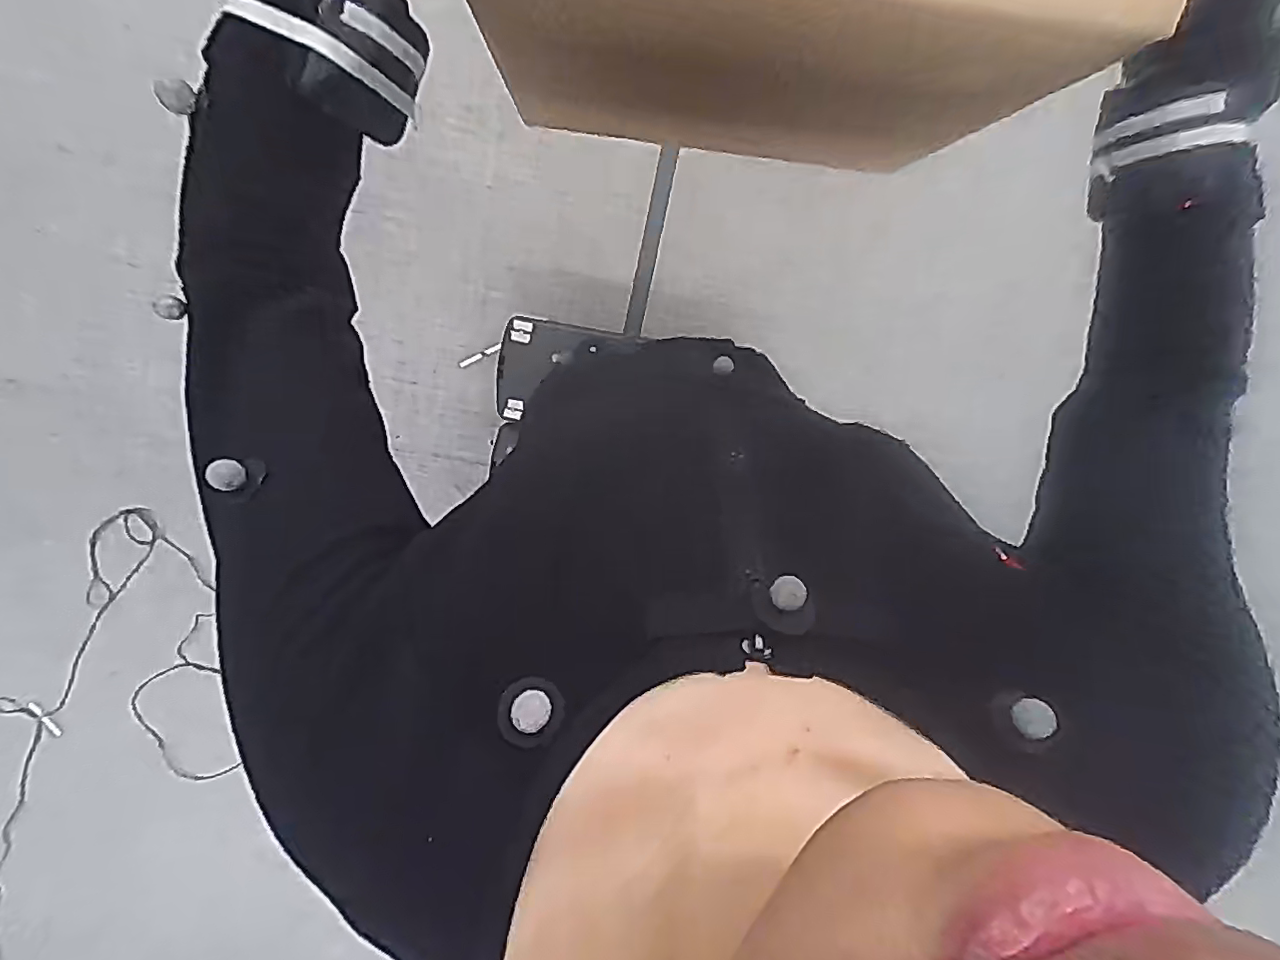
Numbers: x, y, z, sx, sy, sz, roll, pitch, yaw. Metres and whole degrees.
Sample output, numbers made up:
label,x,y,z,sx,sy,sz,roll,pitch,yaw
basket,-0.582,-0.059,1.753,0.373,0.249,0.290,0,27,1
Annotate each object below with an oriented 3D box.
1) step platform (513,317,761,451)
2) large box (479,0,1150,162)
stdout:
label,x,y,z,sx,sy,sz,roll,pitch,yaw
step platform,-0.011,-0.268,1.530,0.684,0.204,0.286,8,102,-6
large box,0.095,-0.461,0.396,0.408,0.320,0.320,4,107,-5
